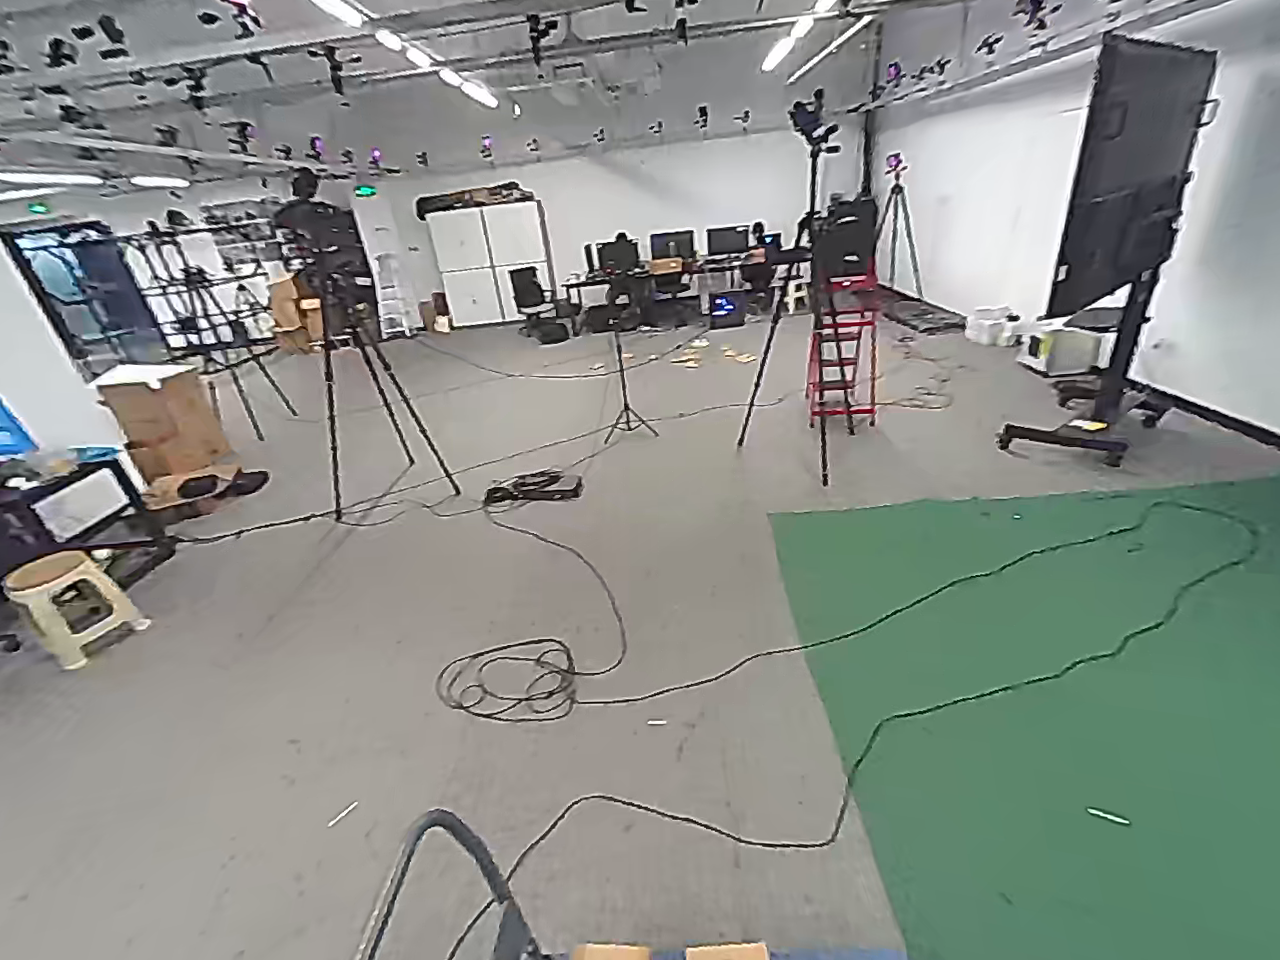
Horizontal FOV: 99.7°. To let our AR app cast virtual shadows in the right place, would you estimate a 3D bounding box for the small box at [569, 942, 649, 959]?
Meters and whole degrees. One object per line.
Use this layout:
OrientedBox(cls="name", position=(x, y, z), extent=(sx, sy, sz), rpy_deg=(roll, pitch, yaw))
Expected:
OrientedBox(cls="small box", position=(-0.060, 1.076, 1.085), extent=(0.168, 0.176, 0.179), rpy_deg=(-3, 27, 7))
